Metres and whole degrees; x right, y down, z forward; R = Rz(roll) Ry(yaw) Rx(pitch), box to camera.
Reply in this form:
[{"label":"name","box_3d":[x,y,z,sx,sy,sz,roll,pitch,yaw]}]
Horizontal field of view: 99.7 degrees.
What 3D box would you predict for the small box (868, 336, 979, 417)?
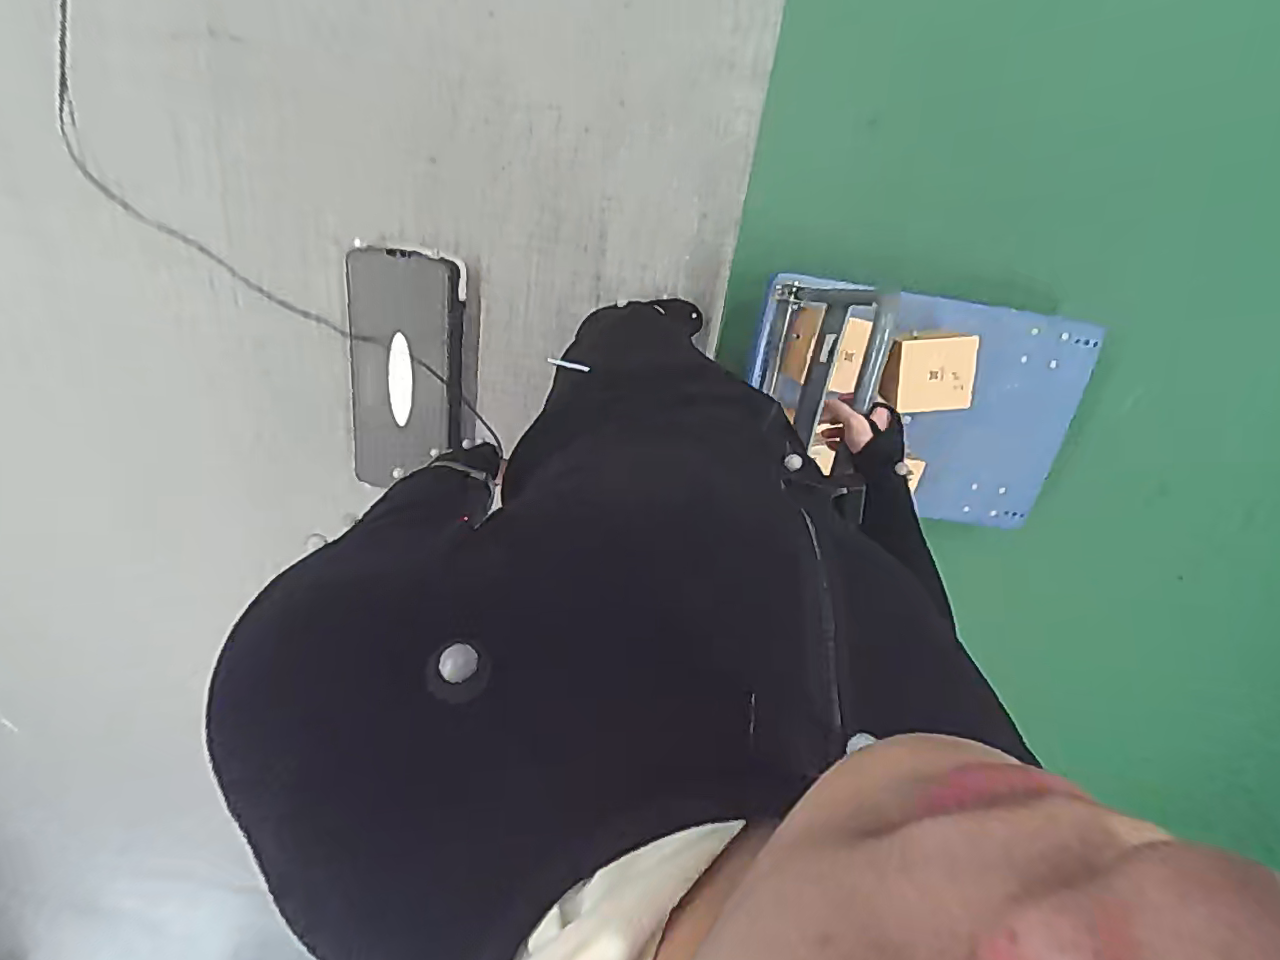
[{"label":"small box","box_3d":[0.668,-0.253,1.299,0.179,0.176,0.168,-4,110,0]}]
